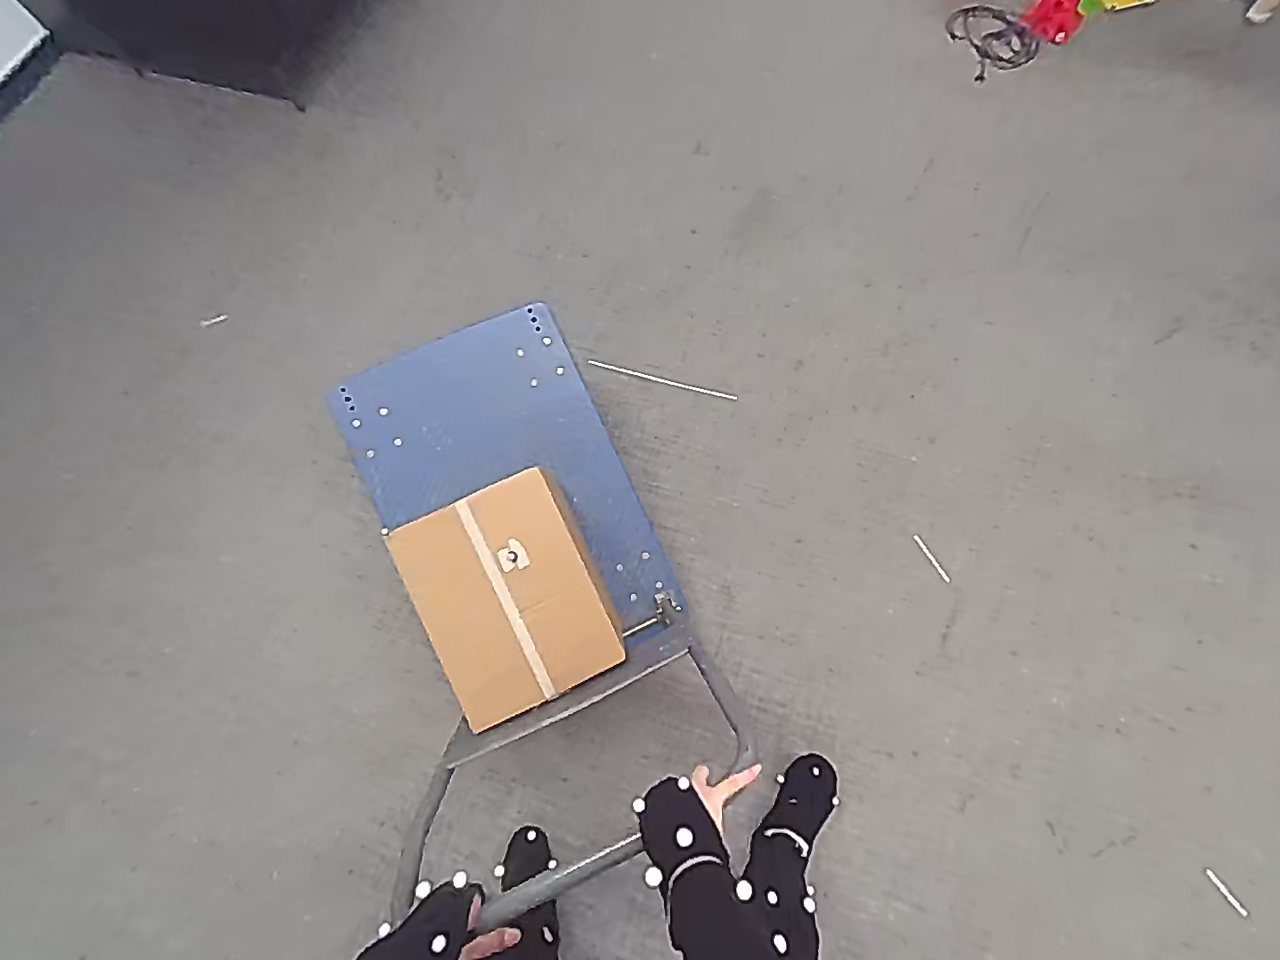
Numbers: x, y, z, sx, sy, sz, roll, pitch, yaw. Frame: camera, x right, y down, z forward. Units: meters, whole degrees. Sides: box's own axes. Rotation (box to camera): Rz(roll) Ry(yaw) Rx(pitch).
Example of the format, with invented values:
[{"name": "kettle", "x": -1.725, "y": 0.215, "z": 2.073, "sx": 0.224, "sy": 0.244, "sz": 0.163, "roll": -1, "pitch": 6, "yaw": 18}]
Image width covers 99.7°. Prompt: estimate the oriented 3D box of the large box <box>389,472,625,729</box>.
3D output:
[{"name": "large box", "x": -0.258, "y": 0.234, "z": 1.170, "sx": 0.320, "sy": 0.320, "sz": 0.408, "roll": -26, "pitch": 89, "yaw": -6}]
